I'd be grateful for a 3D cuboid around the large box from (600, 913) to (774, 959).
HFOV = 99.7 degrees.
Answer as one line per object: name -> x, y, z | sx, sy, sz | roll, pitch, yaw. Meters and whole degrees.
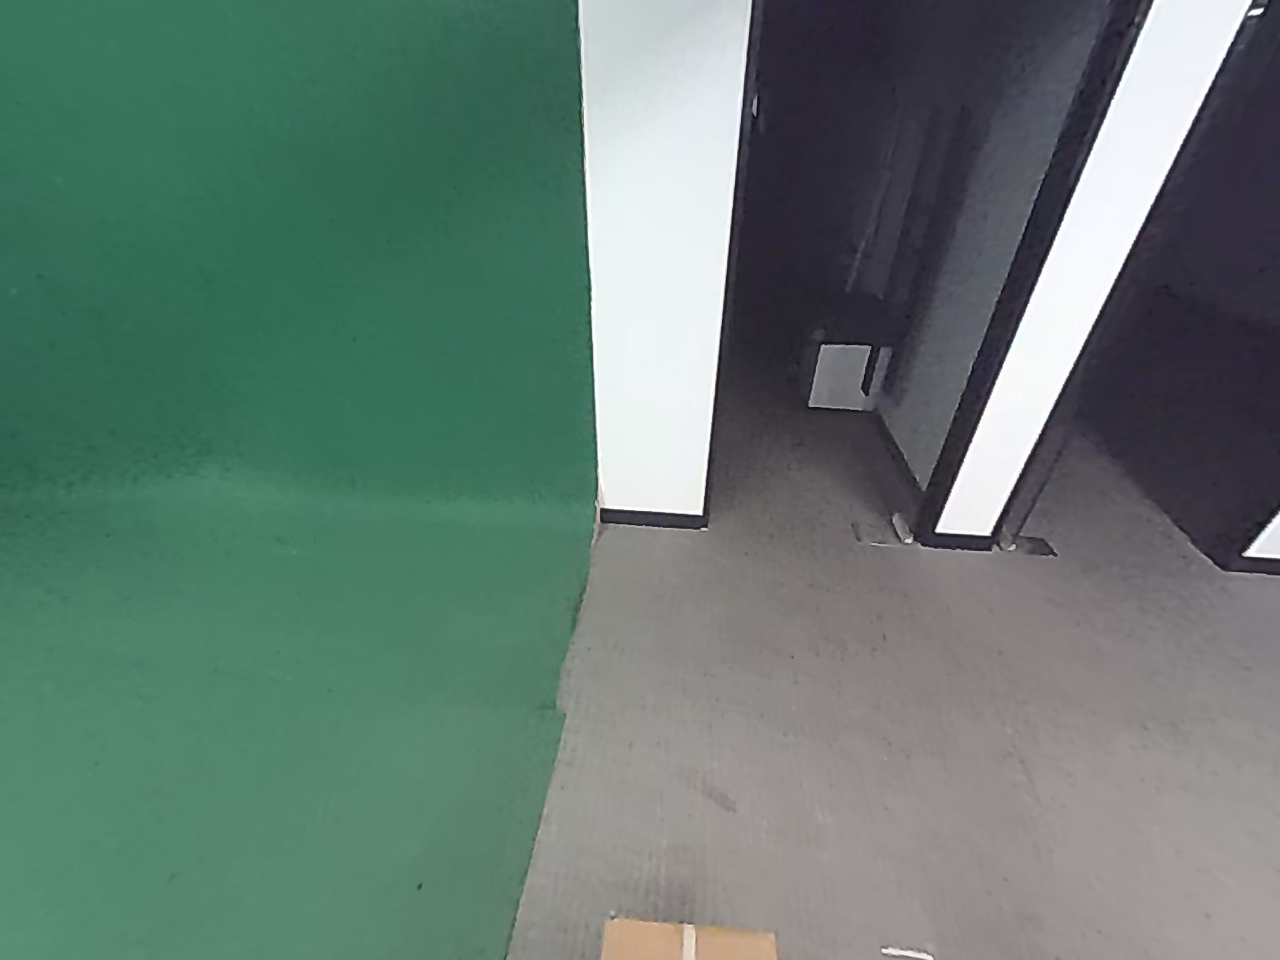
large box -> 0.074, 1.050, 0.917 | 0.320, 0.320, 0.408 | 3, 34, 4
